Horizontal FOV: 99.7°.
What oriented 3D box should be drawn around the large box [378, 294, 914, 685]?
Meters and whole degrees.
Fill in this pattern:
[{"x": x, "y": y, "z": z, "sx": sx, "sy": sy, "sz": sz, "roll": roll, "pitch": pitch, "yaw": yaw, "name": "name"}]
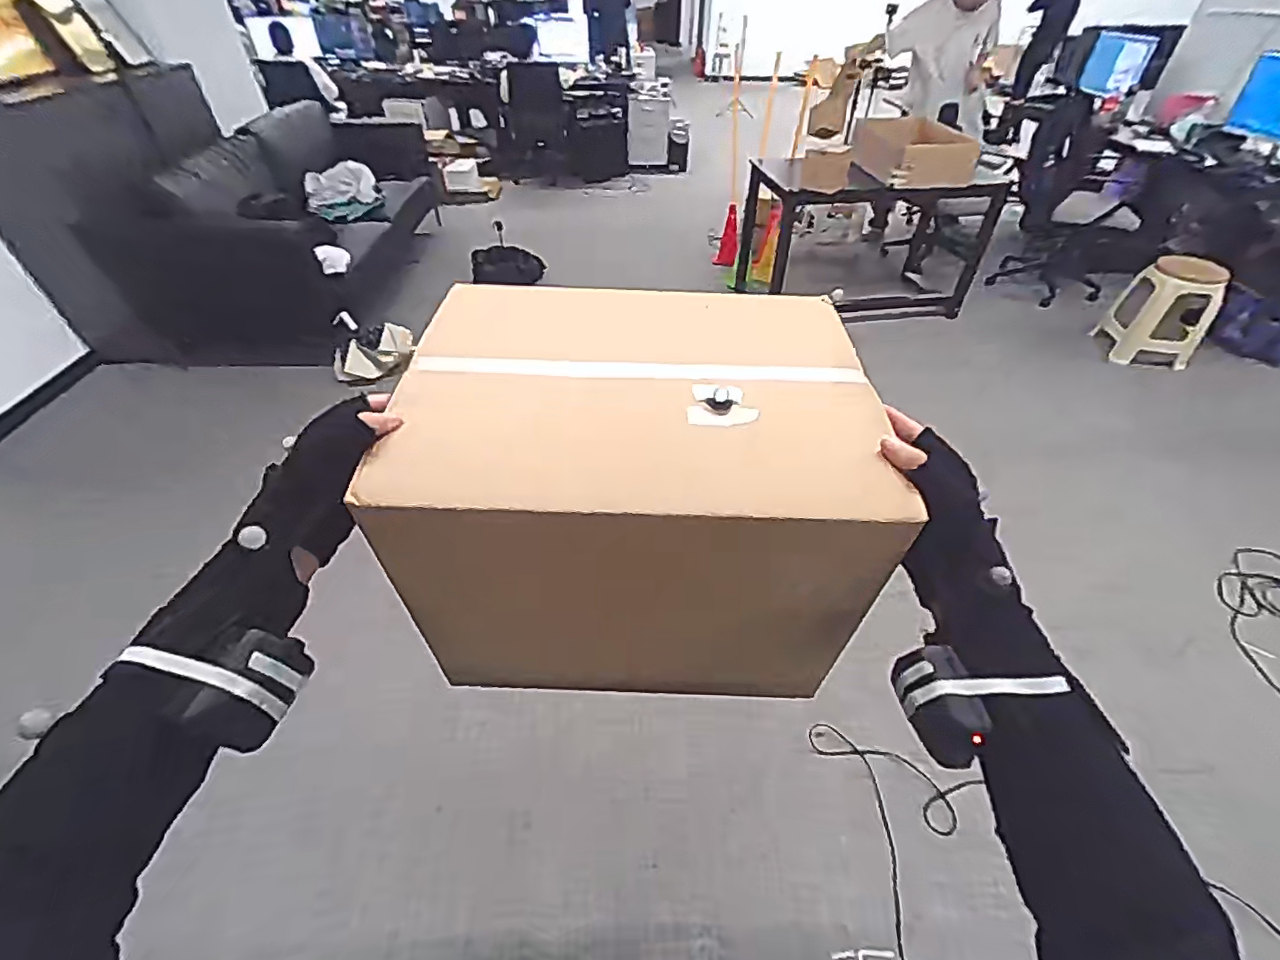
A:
[{"x": 0.000, "y": 0.015, "z": 0.602, "sx": 0.408, "sy": 0.320, "sz": 0.320, "roll": 3, "pitch": 47, "yaw": -1, "name": "large box"}]
